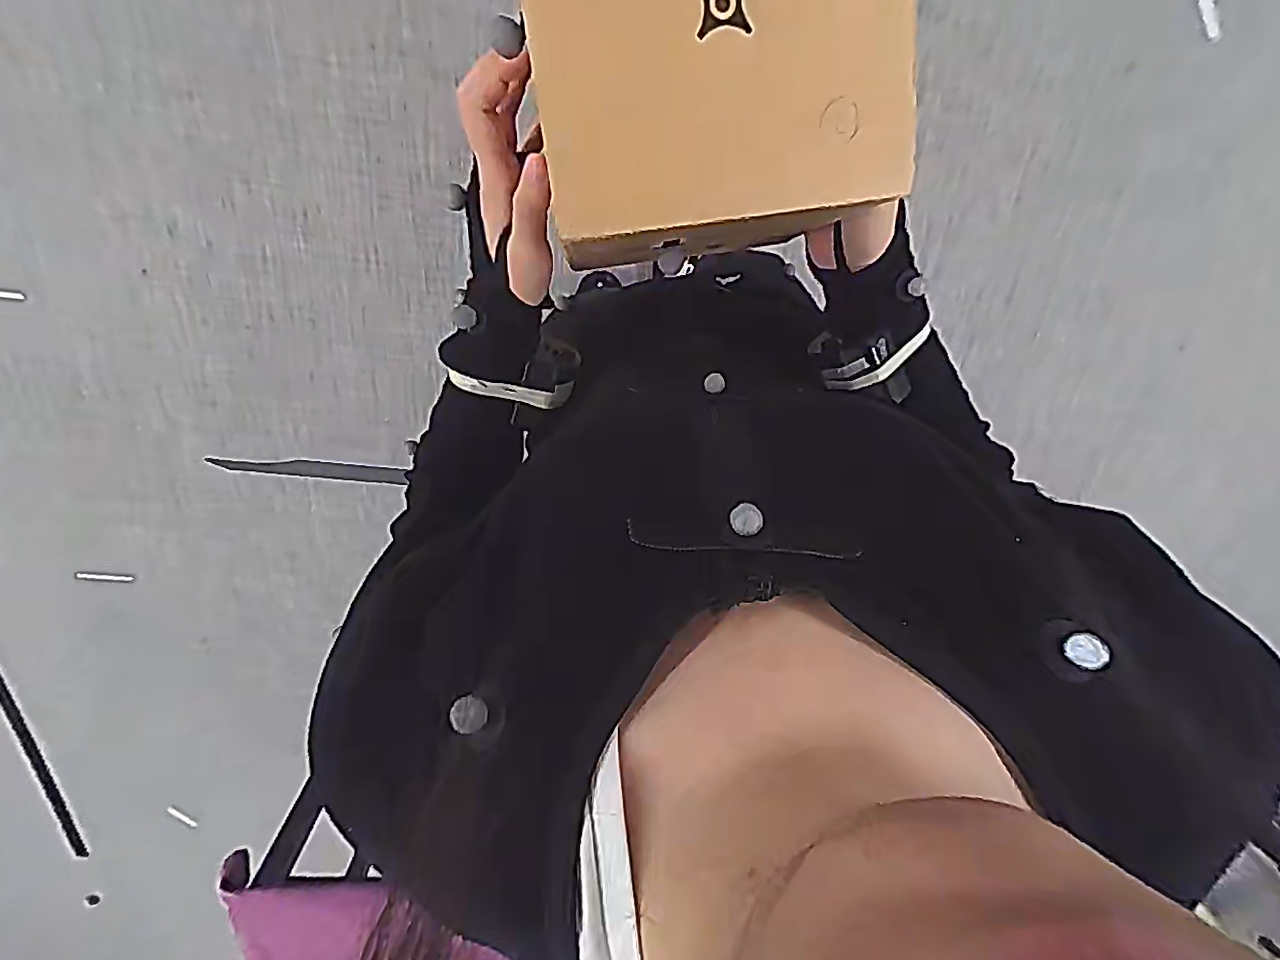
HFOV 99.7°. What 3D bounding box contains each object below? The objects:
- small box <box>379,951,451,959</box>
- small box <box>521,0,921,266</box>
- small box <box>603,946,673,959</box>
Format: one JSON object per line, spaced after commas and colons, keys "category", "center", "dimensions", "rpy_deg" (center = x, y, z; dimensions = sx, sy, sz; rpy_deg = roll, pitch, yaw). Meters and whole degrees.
{"category": "small box", "center": [-0.514, 1.179, 1.181], "dimensions": [0.168, 0.176, 0.179], "rpy_deg": [10, 114, -8]}
{"category": "small box", "center": [0.029, -0.221, 0.296], "dimensions": [0.168, 0.176, 0.179], "rpy_deg": [-9, 106, -2]}
{"category": "small box", "center": [-0.009, 1.199, 1.218], "dimensions": [0.168, 0.176, 0.179], "rpy_deg": [6, 113, -6]}
